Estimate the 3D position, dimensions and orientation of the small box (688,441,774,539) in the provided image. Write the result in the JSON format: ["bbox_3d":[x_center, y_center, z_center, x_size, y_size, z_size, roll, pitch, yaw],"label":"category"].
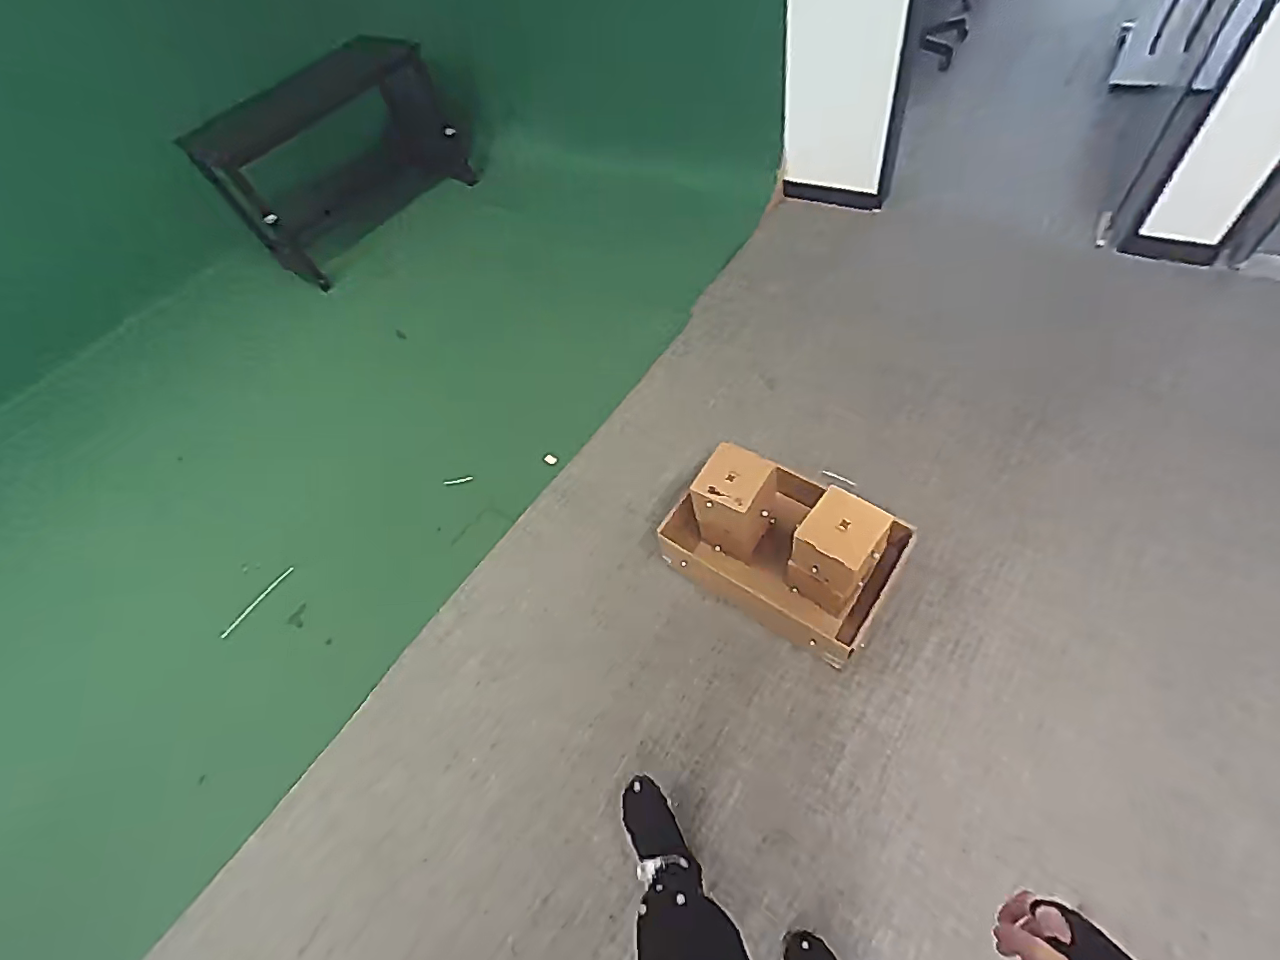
[{"bbox_3d":[0.252,0.029,1.485,0.168,0.176,0.179,25,65,27],"label":"small box"}]

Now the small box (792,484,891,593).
[{"bbox_3d":[0.494,0.149,1.356,0.168,0.176,0.179,33,71,28],"label":"small box"}]
